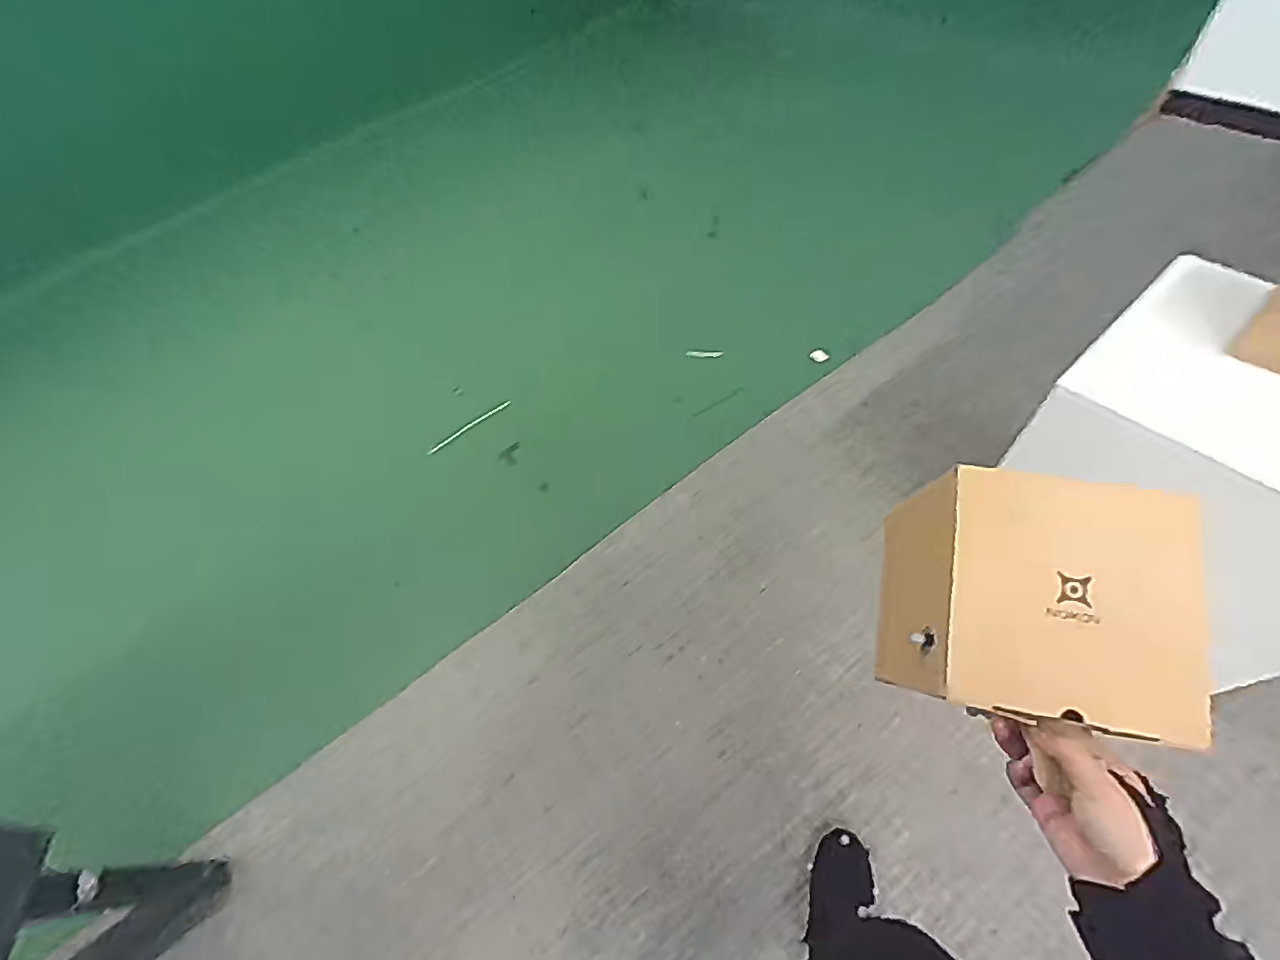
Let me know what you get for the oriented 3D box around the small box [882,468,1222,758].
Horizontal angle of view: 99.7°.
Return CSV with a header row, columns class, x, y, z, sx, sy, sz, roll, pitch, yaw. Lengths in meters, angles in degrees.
class,x,y,z,sx,sy,sz,roll,pitch,yaw
small box,0.319,0.105,0.456,0.168,0.176,0.179,8,77,8
